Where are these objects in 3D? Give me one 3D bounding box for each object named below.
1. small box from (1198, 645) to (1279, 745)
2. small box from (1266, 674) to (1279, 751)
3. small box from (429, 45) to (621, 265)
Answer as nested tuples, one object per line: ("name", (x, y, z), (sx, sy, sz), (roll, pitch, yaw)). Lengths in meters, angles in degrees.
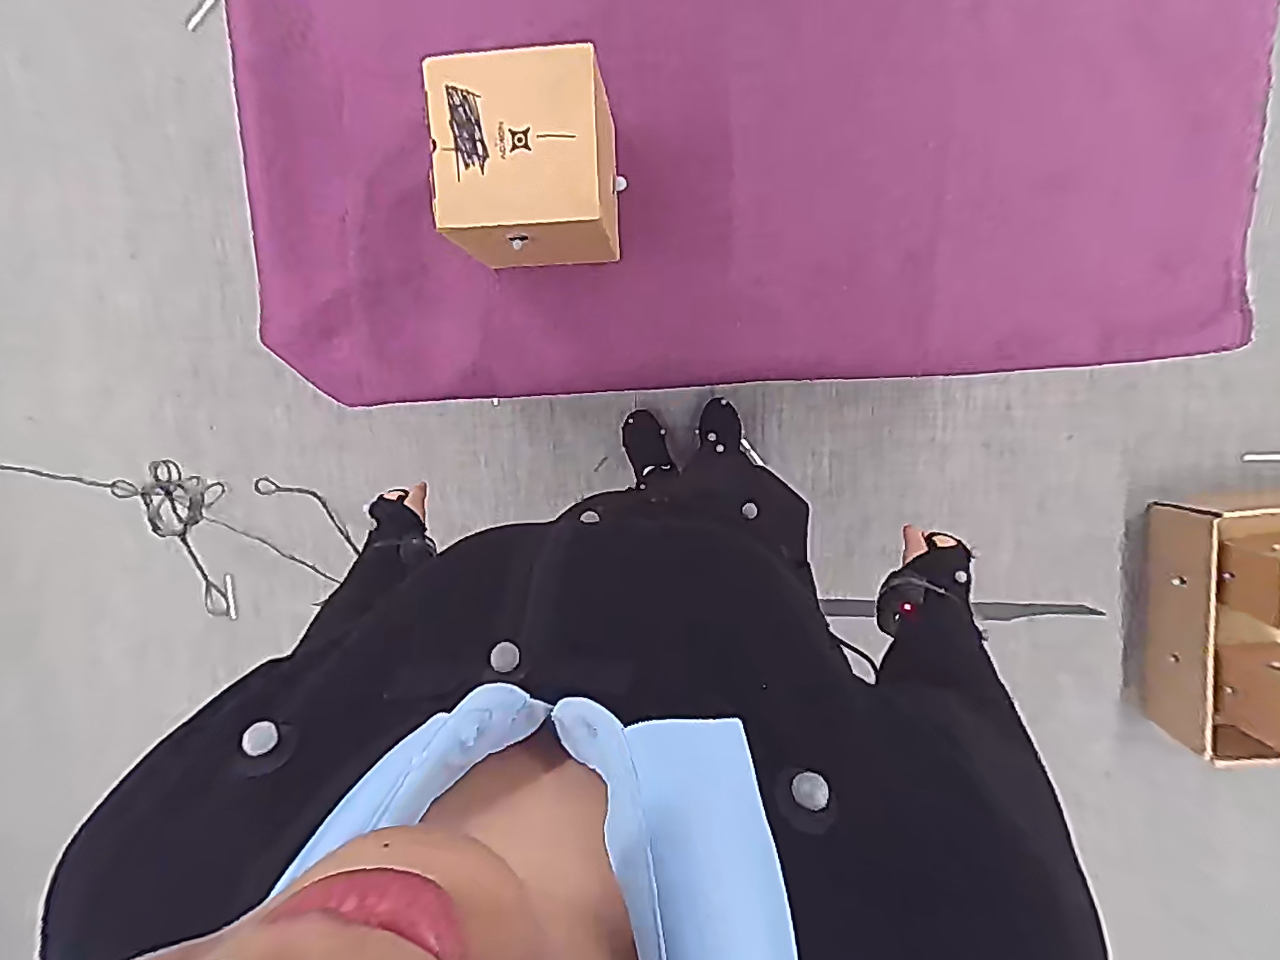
("small box", (1.510, 0.510, 1.300), (0.179, 0.176, 0.168), (-4, 98, 5))
("small box", (1.494, 0.530, 1.139), (0.168, 0.176, 0.179), (-5, 97, 6))
("small box", (-0.119, -0.356, 0.626), (0.179, 0.176, 0.168), (-1, 98, 4))
